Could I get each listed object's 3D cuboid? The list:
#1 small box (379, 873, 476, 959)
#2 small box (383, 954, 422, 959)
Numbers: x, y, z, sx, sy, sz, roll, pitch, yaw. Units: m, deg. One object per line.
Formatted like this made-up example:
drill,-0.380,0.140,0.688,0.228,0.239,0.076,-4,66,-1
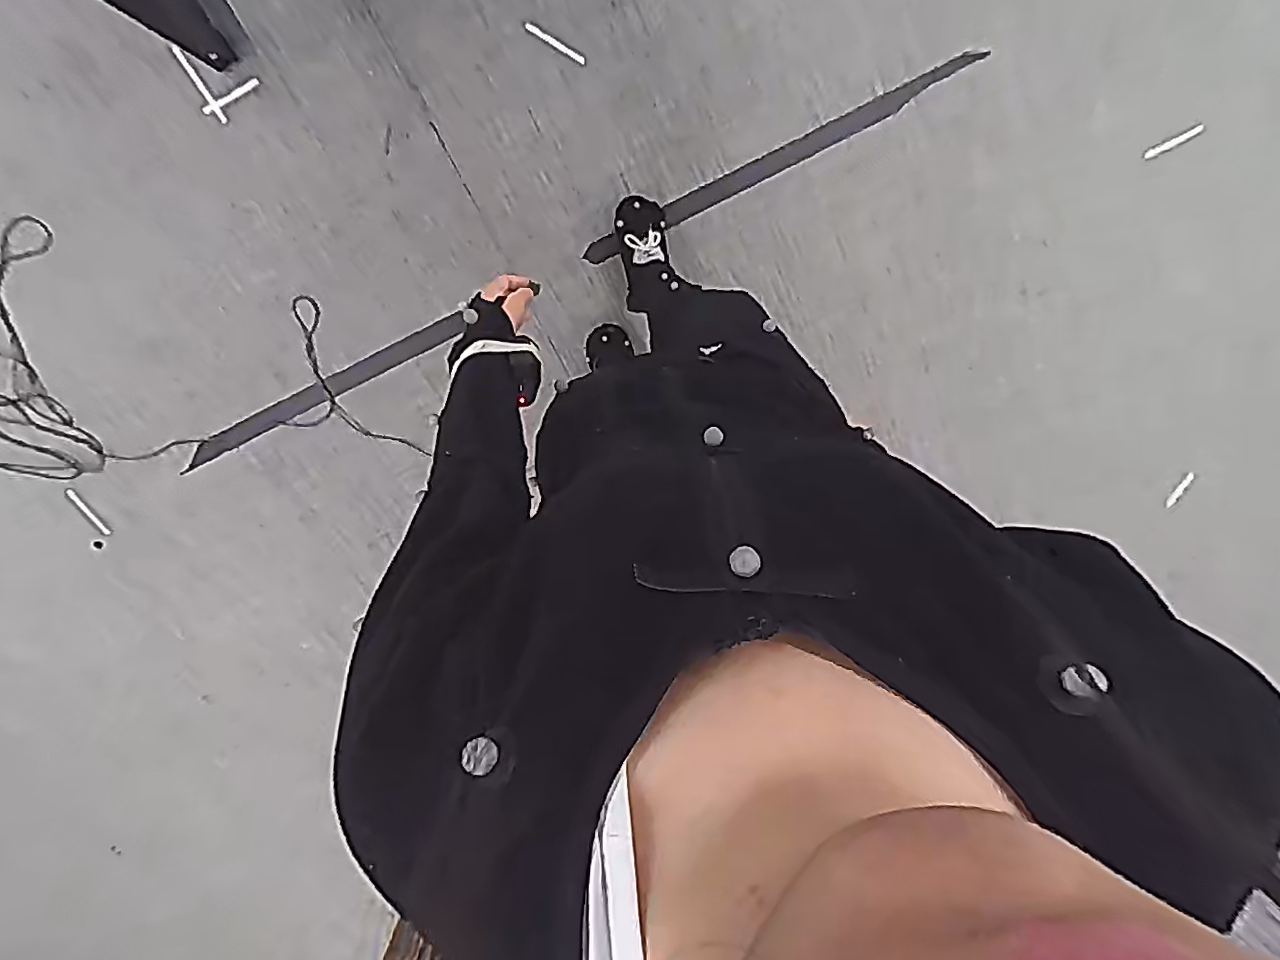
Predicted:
small box,-0.491,1.054,1.237,0.168,0.176,0.179,20,106,-12
small box,-0.478,1.102,1.082,0.168,0.176,0.179,20,106,-12
